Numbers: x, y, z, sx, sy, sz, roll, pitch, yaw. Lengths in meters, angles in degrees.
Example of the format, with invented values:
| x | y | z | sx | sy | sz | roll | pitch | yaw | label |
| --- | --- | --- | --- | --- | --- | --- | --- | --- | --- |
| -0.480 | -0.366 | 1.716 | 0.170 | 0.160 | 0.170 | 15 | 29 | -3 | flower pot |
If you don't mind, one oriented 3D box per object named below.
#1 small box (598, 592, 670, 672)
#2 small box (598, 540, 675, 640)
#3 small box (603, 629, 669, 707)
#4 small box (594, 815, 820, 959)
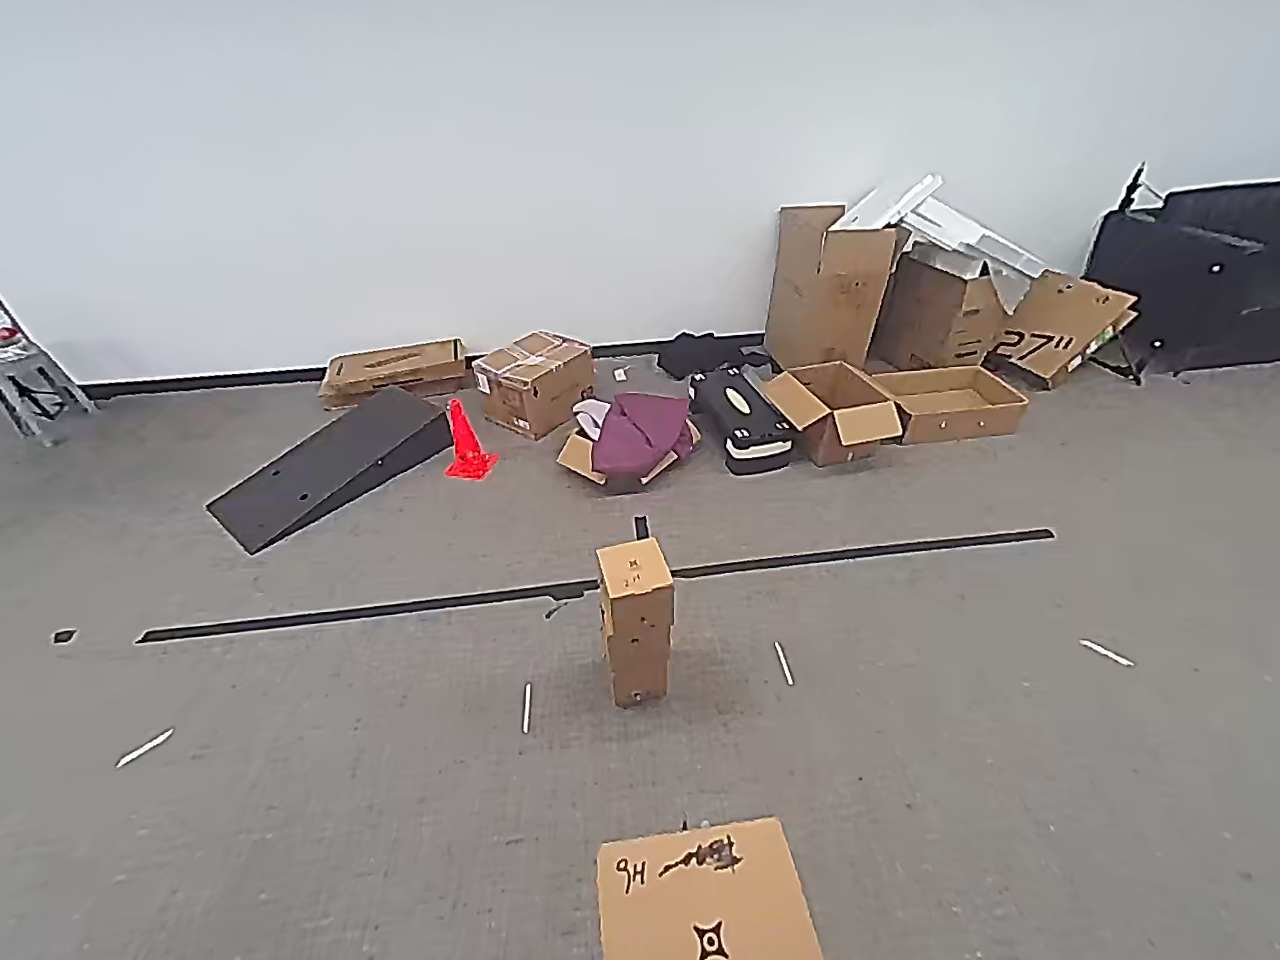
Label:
| x | y | z | sx | sy | sz | roll | pitch | yaw | label |
| --- | --- | --- | --- | --- | --- | --- | --- | --- | --- |
| -0.015 | 0.418 | 1.529 | 0.179 | 0.176 | 0.168 | -8 | 39 | -8 | small box |
| -0.012 | 0.290 | 1.425 | 0.168 | 0.176 | 0.179 | -11 | 39 | -10 | small box |
| -0.014 | 0.549 | 1.628 | 0.168 | 0.176 | 0.179 | -11 | 40 | -9 | small box |
| 0.054 | 0.417 | 0.450 | 0.168 | 0.176 | 0.179 | -6 | 38 | -5 | small box |
